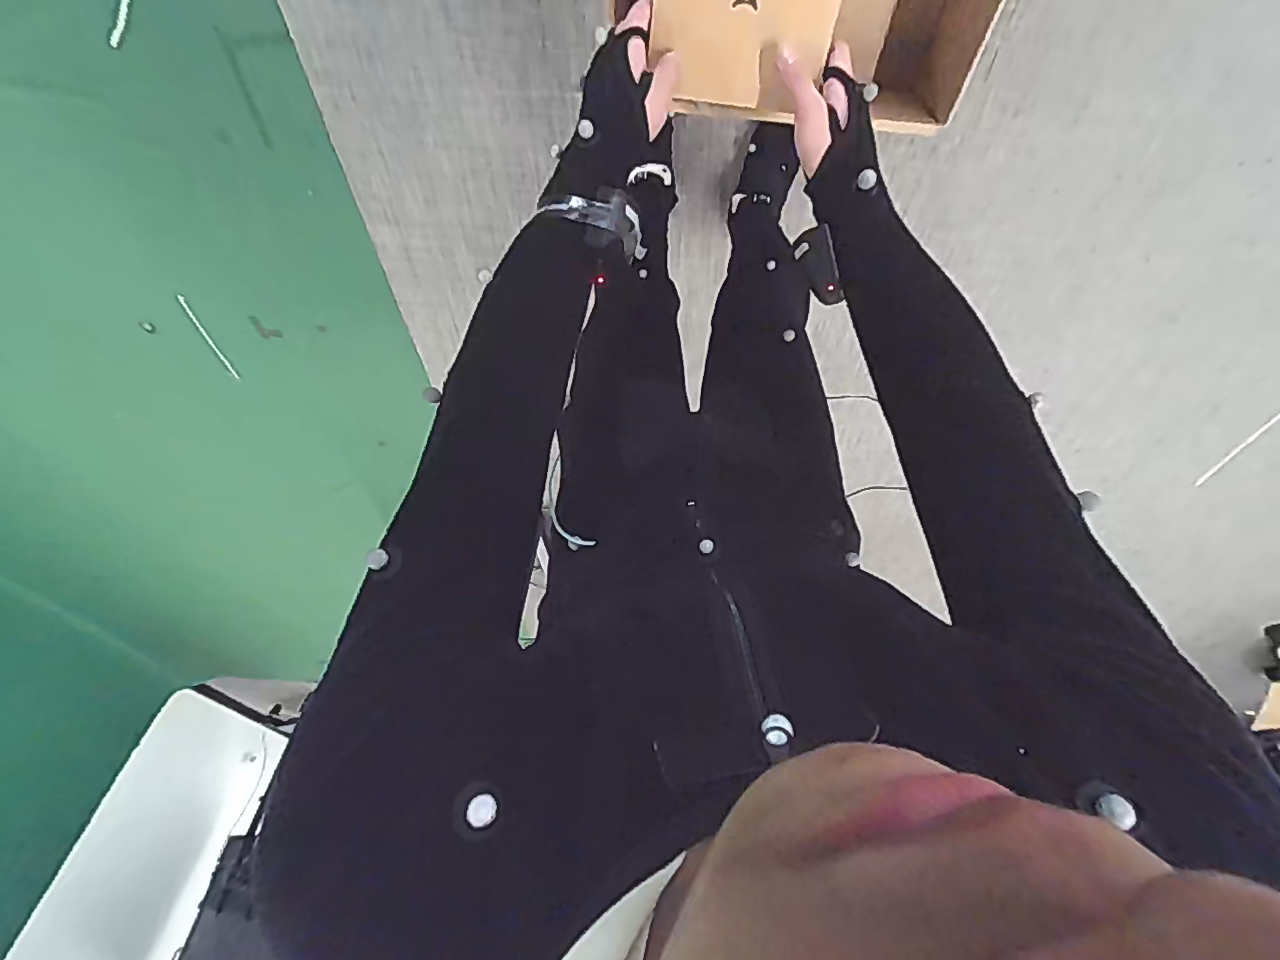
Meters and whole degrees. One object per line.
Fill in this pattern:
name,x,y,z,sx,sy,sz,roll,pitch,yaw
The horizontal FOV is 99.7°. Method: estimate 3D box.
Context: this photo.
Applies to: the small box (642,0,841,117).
small box,0.098,-0.475,0.519,0.168,0.176,0.179,7,131,-2
